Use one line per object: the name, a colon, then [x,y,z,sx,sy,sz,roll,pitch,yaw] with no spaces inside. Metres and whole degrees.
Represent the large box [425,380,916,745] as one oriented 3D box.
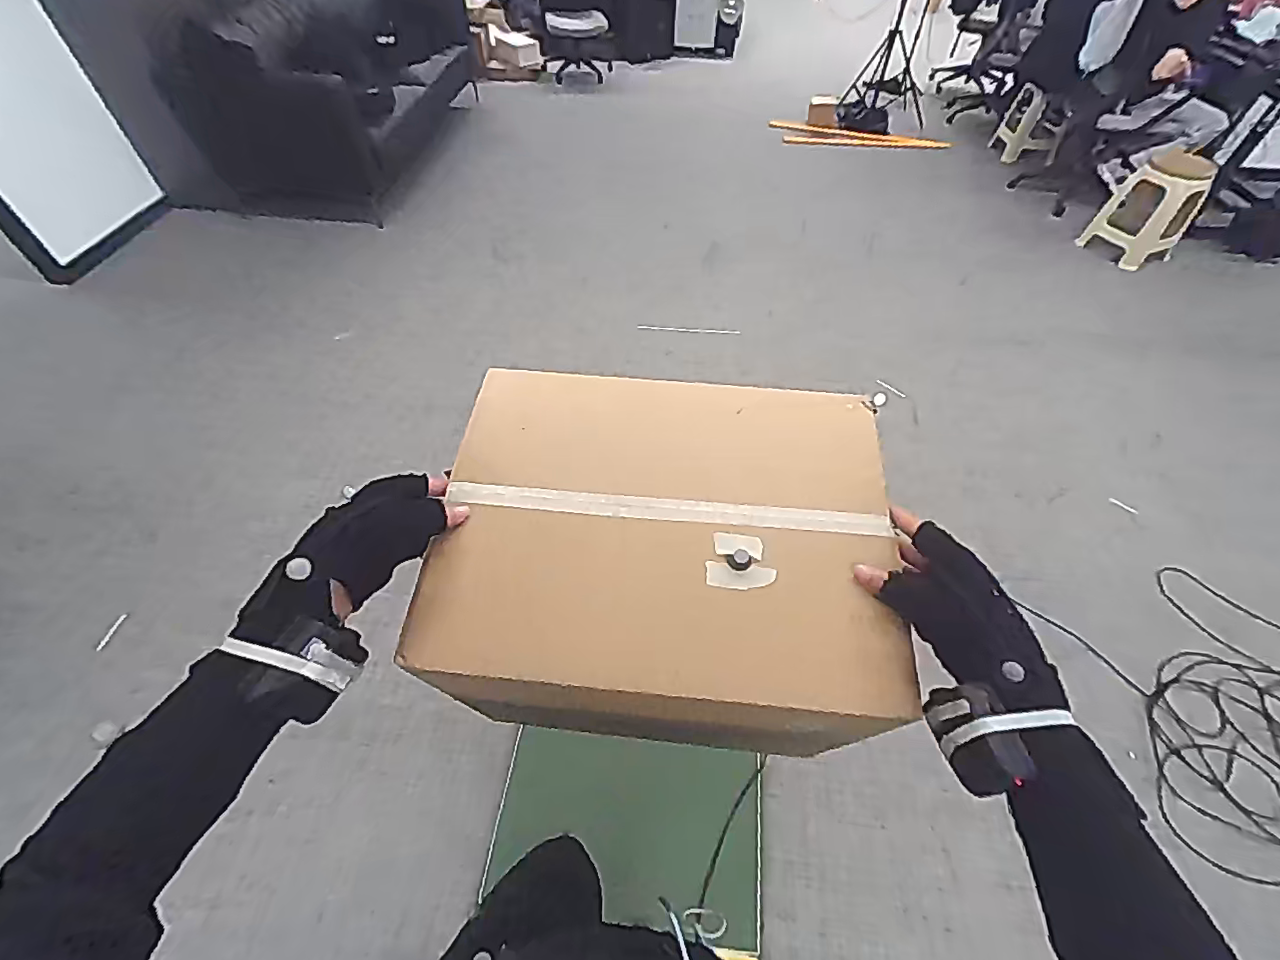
large box: [0.030,0.110,0.633,0.408,0.320,0.320,5,59,2]
